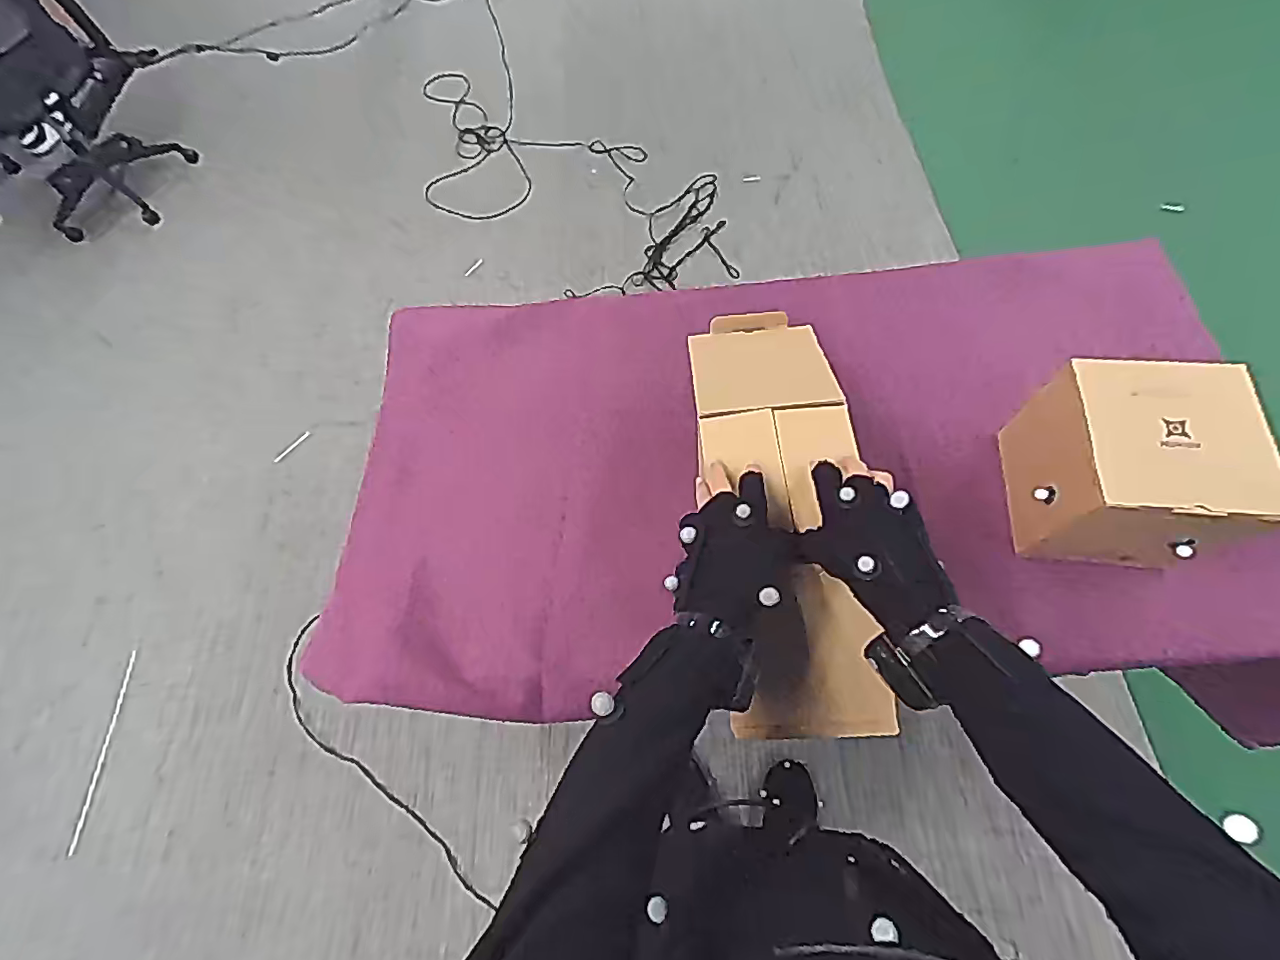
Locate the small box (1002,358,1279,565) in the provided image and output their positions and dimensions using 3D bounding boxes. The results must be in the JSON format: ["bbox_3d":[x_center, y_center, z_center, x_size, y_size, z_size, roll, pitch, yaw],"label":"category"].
[{"bbox_3d":[0.542,-0.013,0.608,0.168,0.176,0.179,5,65,9],"label":"small box"}]
